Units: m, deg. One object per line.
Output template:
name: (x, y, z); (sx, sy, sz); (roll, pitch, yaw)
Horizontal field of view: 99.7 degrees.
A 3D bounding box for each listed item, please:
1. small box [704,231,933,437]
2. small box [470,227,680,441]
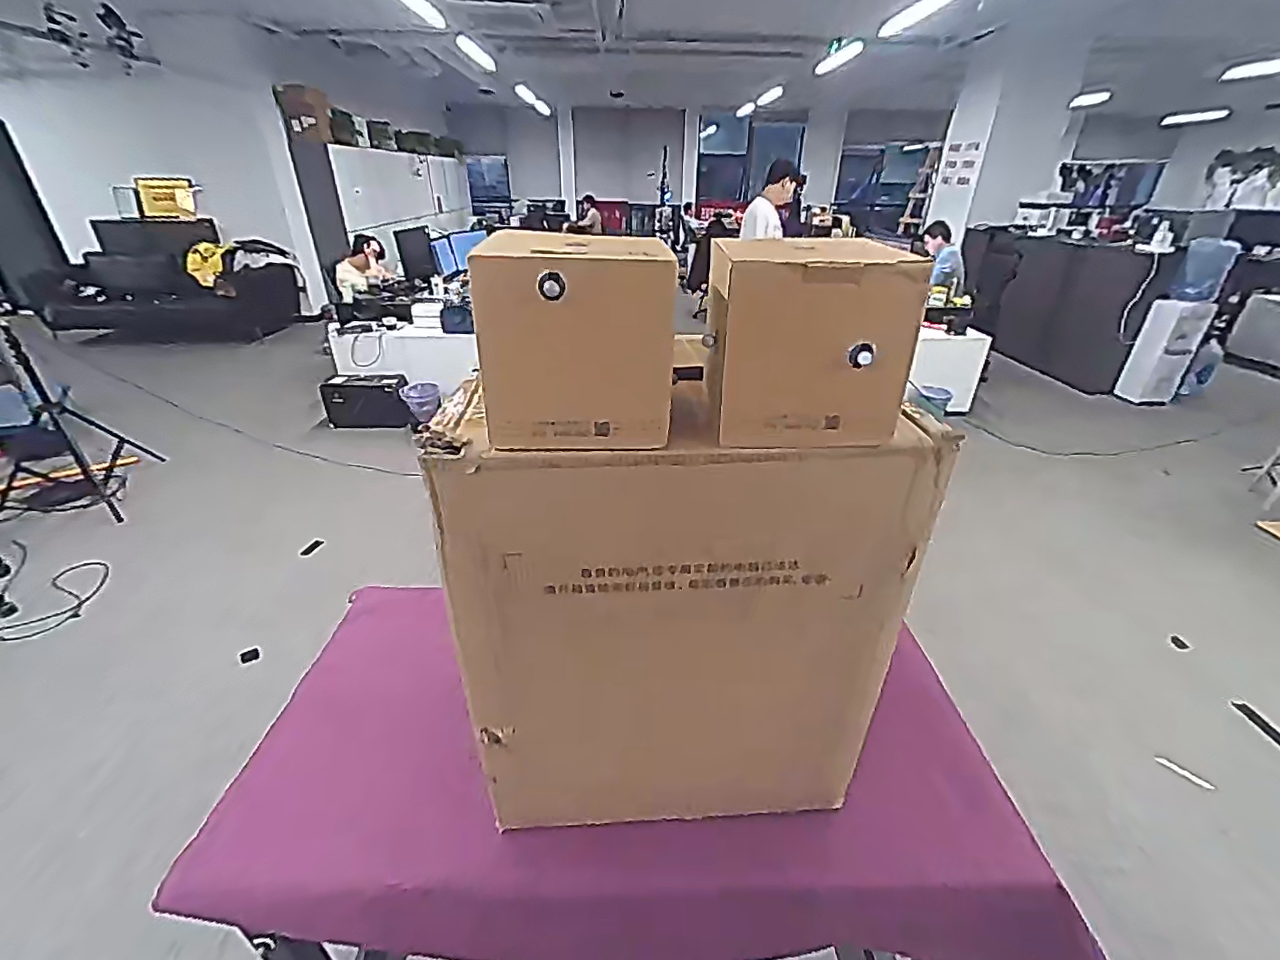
small box: (0.155, -0.149, 0.539); (0.168, 0.176, 0.179); (1, 28, 0)
small box: (-0.056, -0.148, 0.526); (0.168, 0.176, 0.179); (-1, 28, -3)
